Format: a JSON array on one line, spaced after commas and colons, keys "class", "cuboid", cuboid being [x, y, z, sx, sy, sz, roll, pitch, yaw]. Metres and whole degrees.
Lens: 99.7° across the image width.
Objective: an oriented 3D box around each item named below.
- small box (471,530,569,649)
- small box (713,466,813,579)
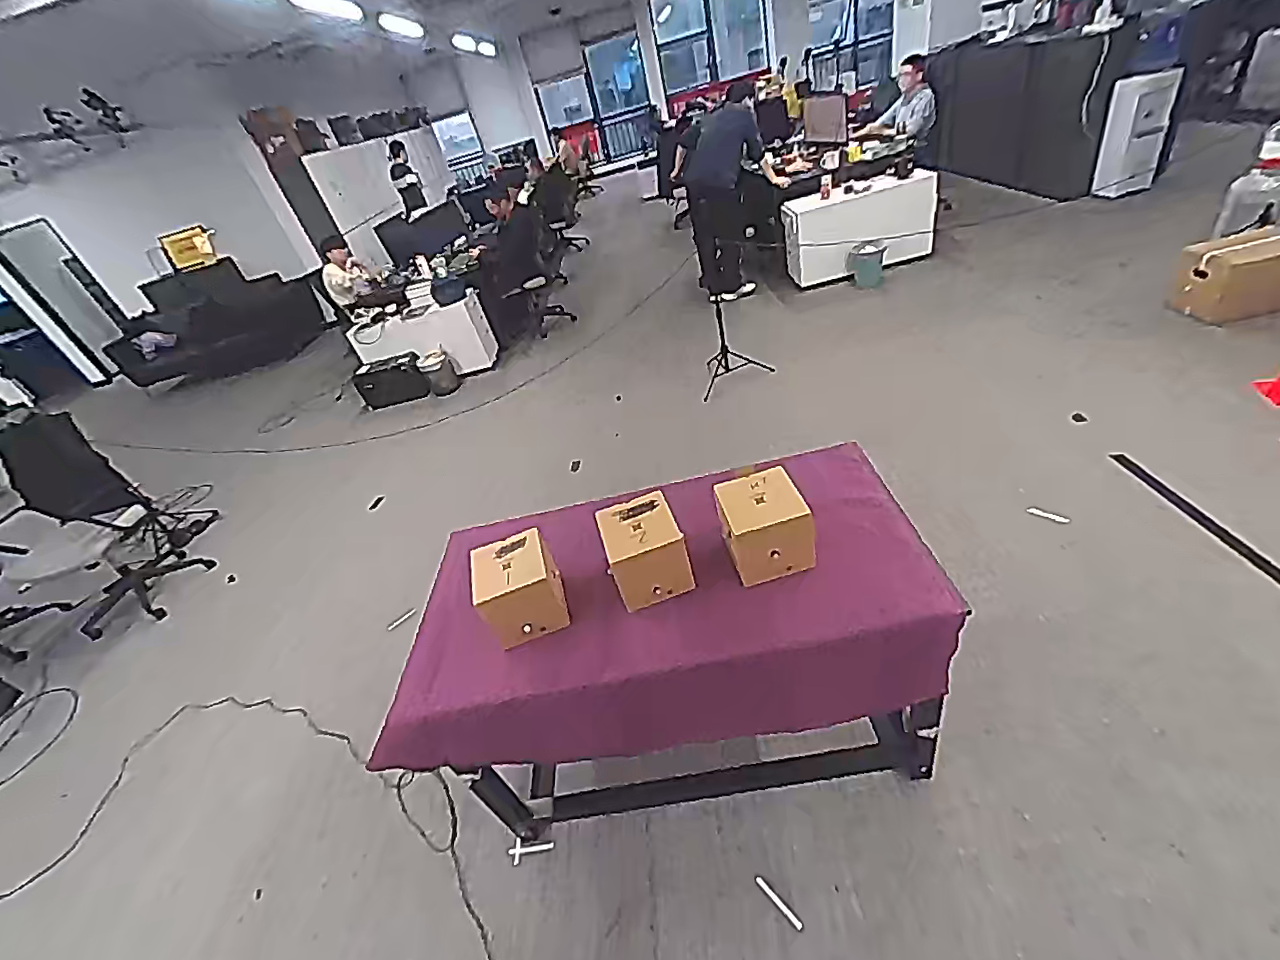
[{"class": "small box", "cuboid": [-0.276, 0.251, 1.245, 0.168, 0.176, 0.179, -21, 37, -5]}, {"class": "small box", "cuboid": [0.276, 0.101, 1.210, 0.168, 0.176, 0.179, -16, 35, 1]}]
